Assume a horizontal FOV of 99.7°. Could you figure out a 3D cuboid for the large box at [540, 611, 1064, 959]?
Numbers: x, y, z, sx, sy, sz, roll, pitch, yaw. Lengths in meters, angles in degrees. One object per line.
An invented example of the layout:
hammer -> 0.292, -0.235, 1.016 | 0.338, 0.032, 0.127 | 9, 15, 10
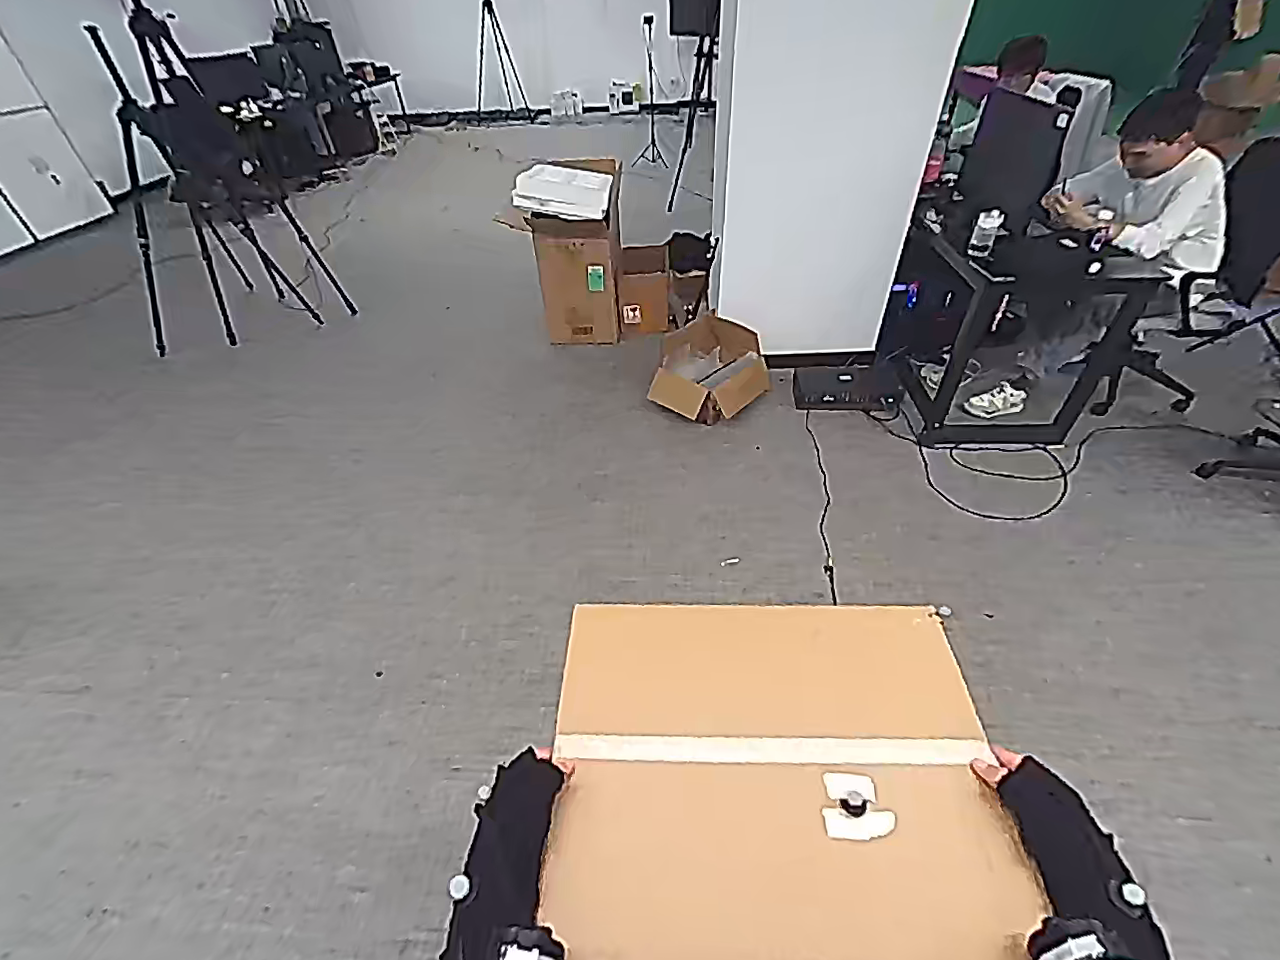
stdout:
large box -> 0.127, 0.365, 0.616 | 0.408, 0.320, 0.320 | 0, 45, 3
